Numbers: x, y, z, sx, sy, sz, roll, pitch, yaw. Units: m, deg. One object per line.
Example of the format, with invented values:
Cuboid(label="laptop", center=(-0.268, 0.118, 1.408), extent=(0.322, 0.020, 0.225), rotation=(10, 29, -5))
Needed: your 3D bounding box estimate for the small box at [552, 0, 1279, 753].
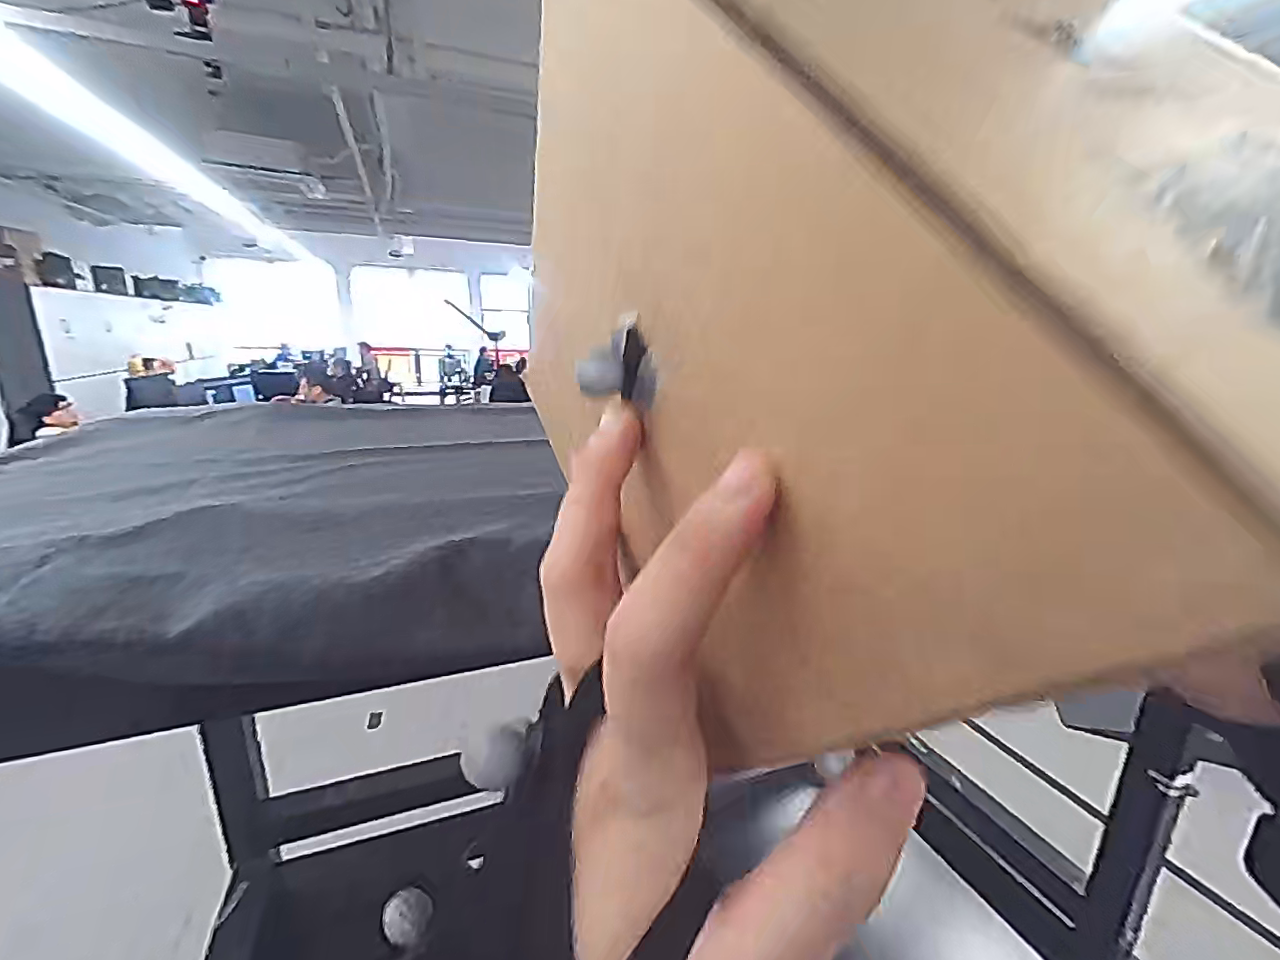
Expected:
Cuboid(label="small box", center=(0.077, -0.032, 0.174), extent=(0.168, 0.176, 0.179), rotation=(-15, 61, -21))
